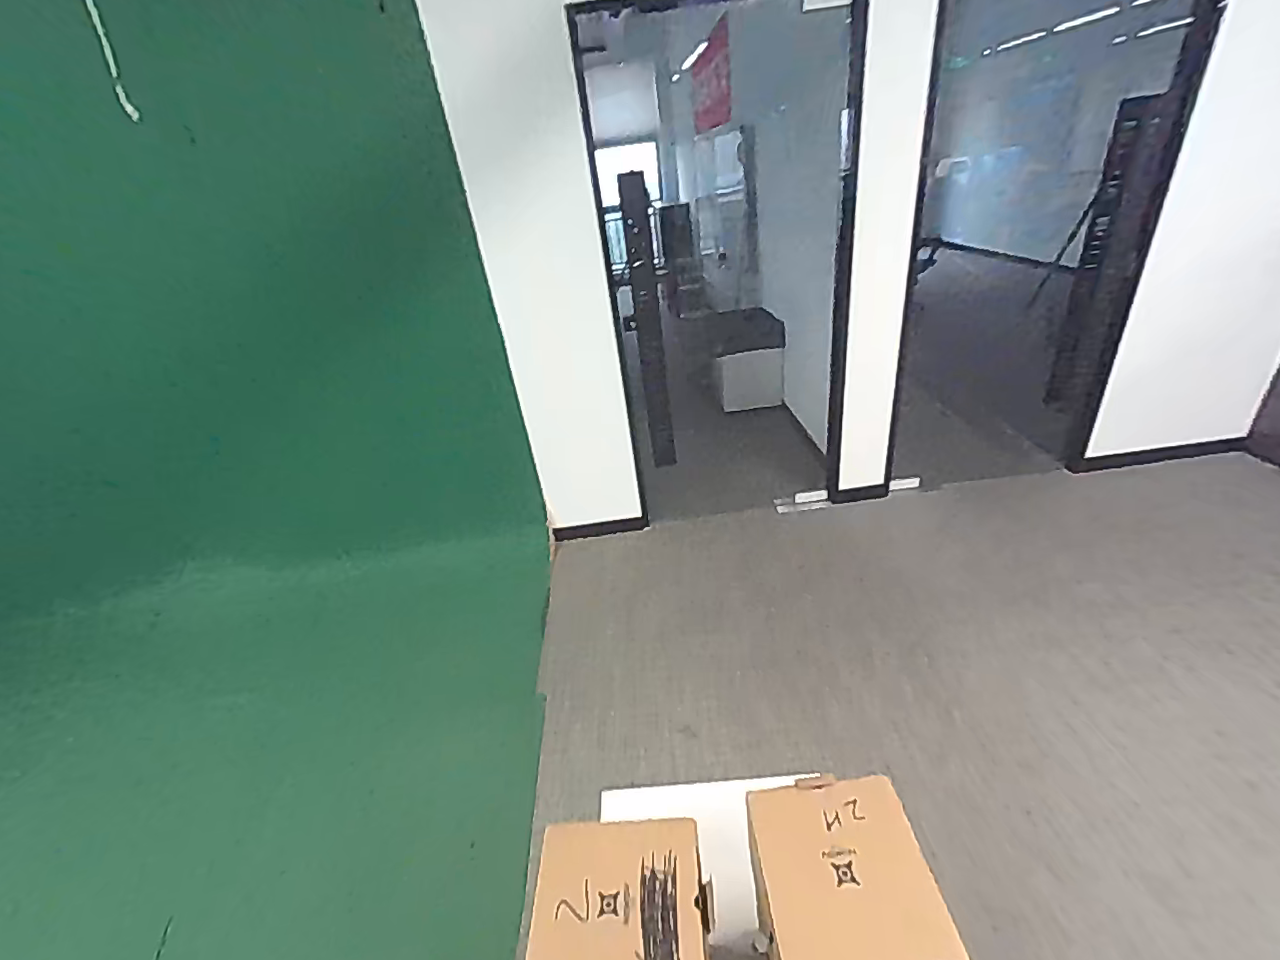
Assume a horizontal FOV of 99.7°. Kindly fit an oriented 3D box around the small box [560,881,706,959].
[{"bbox_3d":[-0.003,0.639,0.679,0.179,0.176,0.168,-4,30,2],"label":"small box"}]

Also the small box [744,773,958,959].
[{"bbox_3d":[0.216,0.464,0.599,0.168,0.176,0.179,-7,30,1],"label":"small box"}]
